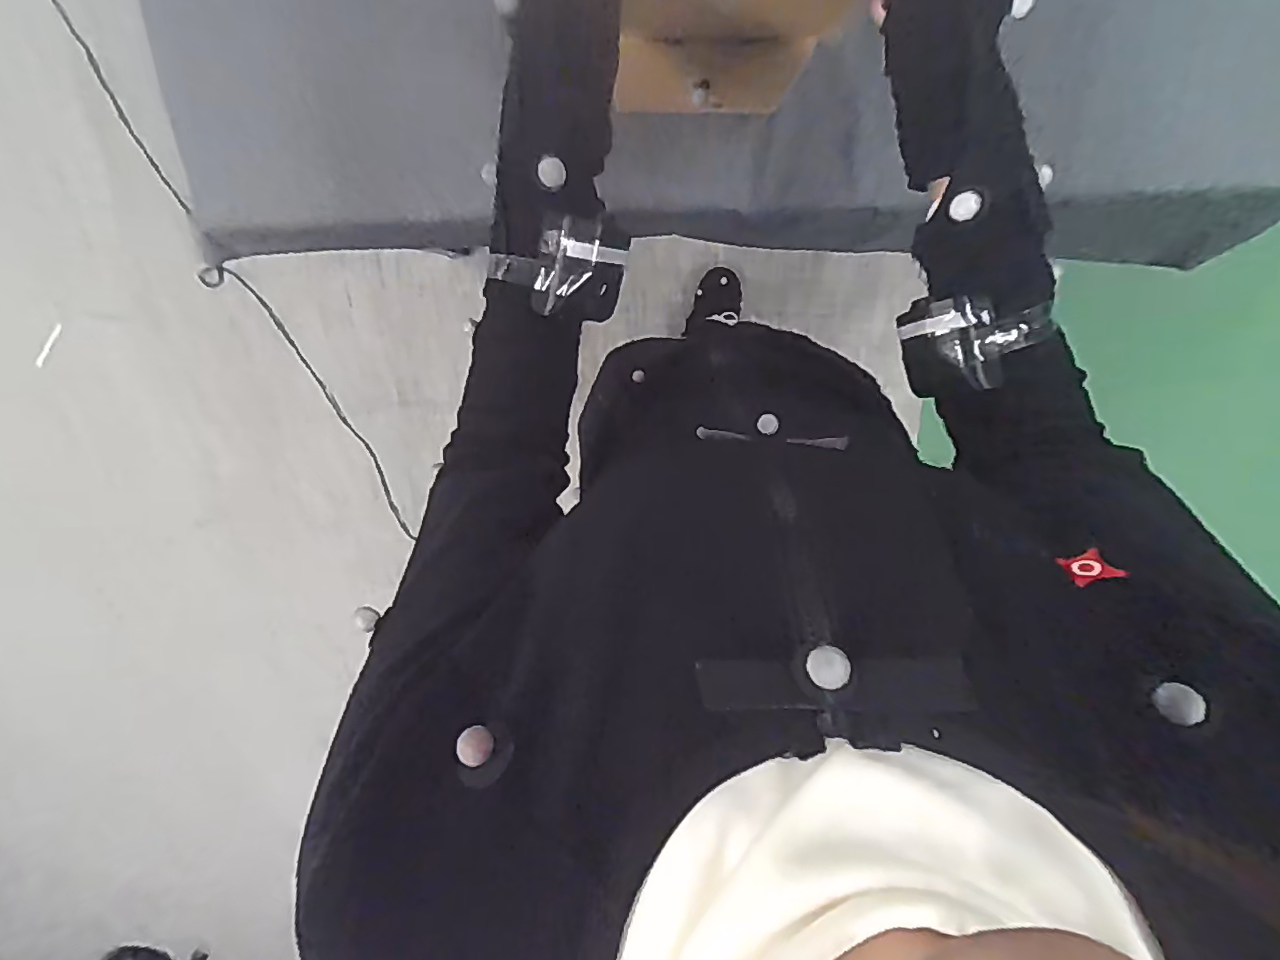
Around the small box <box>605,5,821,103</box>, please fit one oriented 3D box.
[{"bbox_3d":[0.059,-0.442,0.459,0.168,0.176,0.179,0,109,3],"label":"small box"}]
